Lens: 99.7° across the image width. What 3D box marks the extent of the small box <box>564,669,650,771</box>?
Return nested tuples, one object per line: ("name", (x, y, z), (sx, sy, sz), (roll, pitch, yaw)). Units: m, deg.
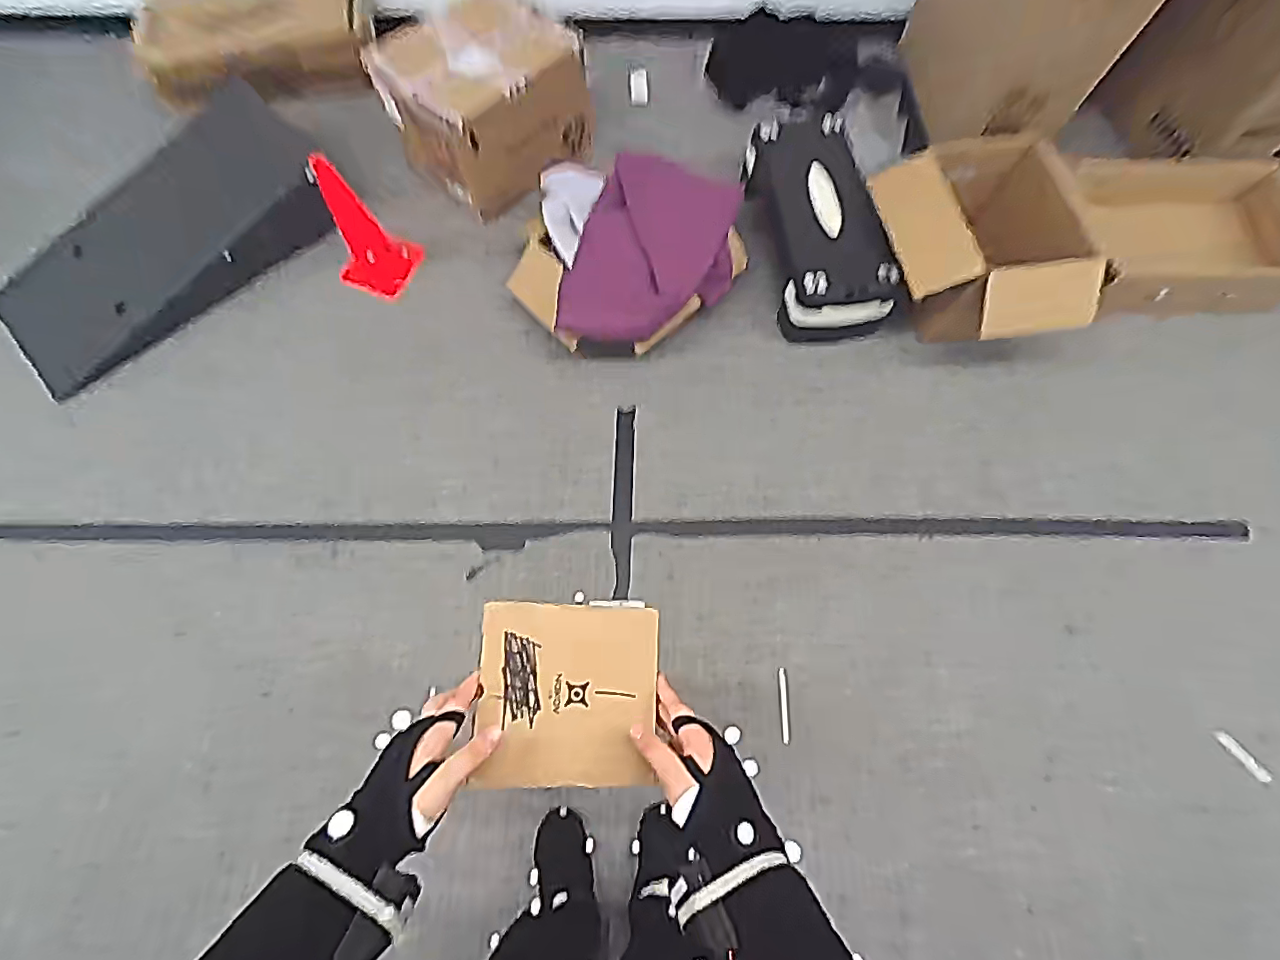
("small box", (-0.068, 0.499, 1.142), (0.168, 0.176, 0.179), (-4, 71, -1))
